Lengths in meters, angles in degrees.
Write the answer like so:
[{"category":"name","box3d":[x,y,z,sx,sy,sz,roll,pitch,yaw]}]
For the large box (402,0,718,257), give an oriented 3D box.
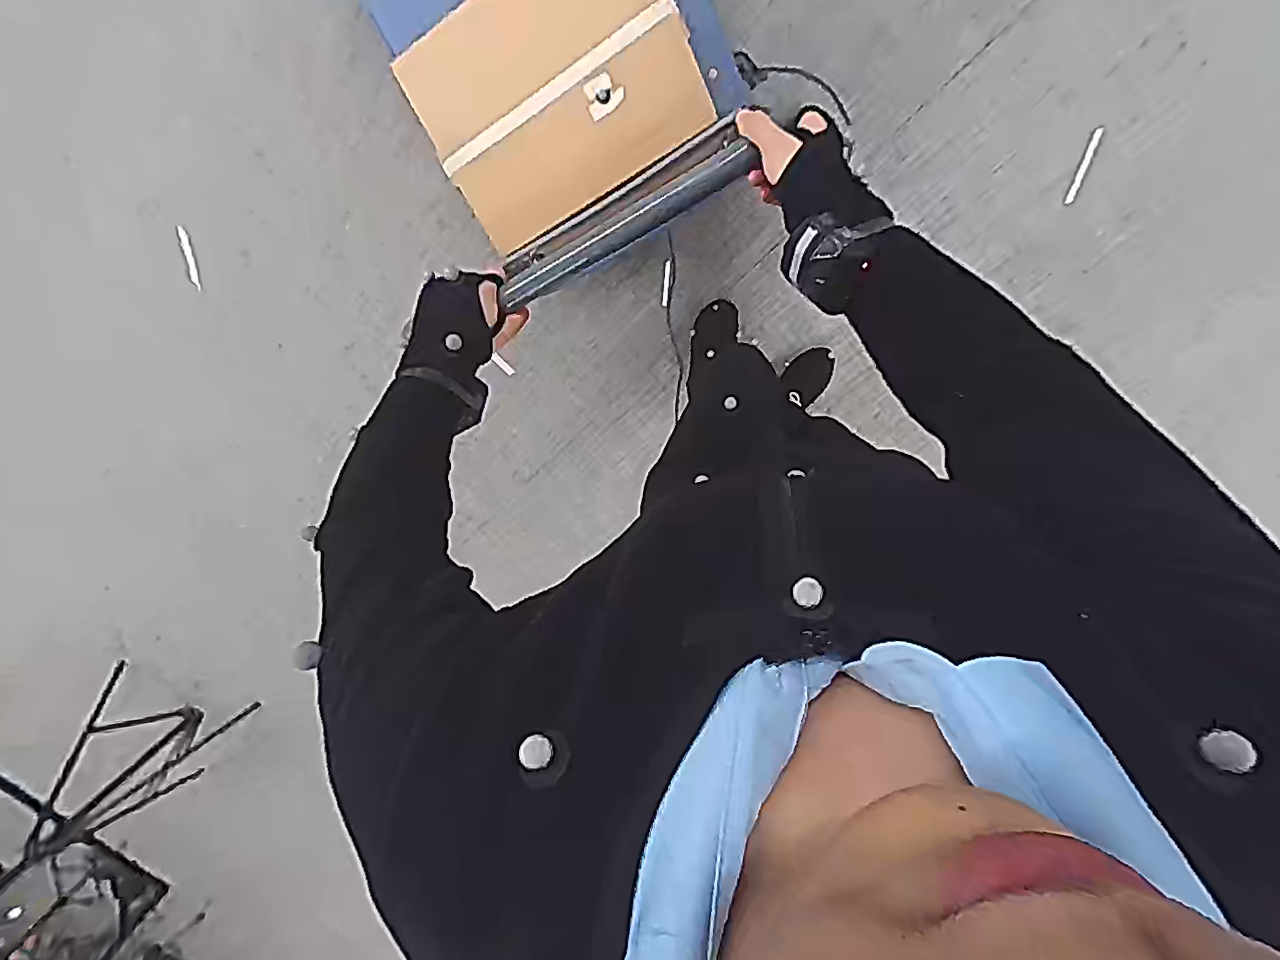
[{"category":"large box","box3d":[-0.108,-0.638,0.949,0.408,0.320,0.320,-25,109,17]}]
